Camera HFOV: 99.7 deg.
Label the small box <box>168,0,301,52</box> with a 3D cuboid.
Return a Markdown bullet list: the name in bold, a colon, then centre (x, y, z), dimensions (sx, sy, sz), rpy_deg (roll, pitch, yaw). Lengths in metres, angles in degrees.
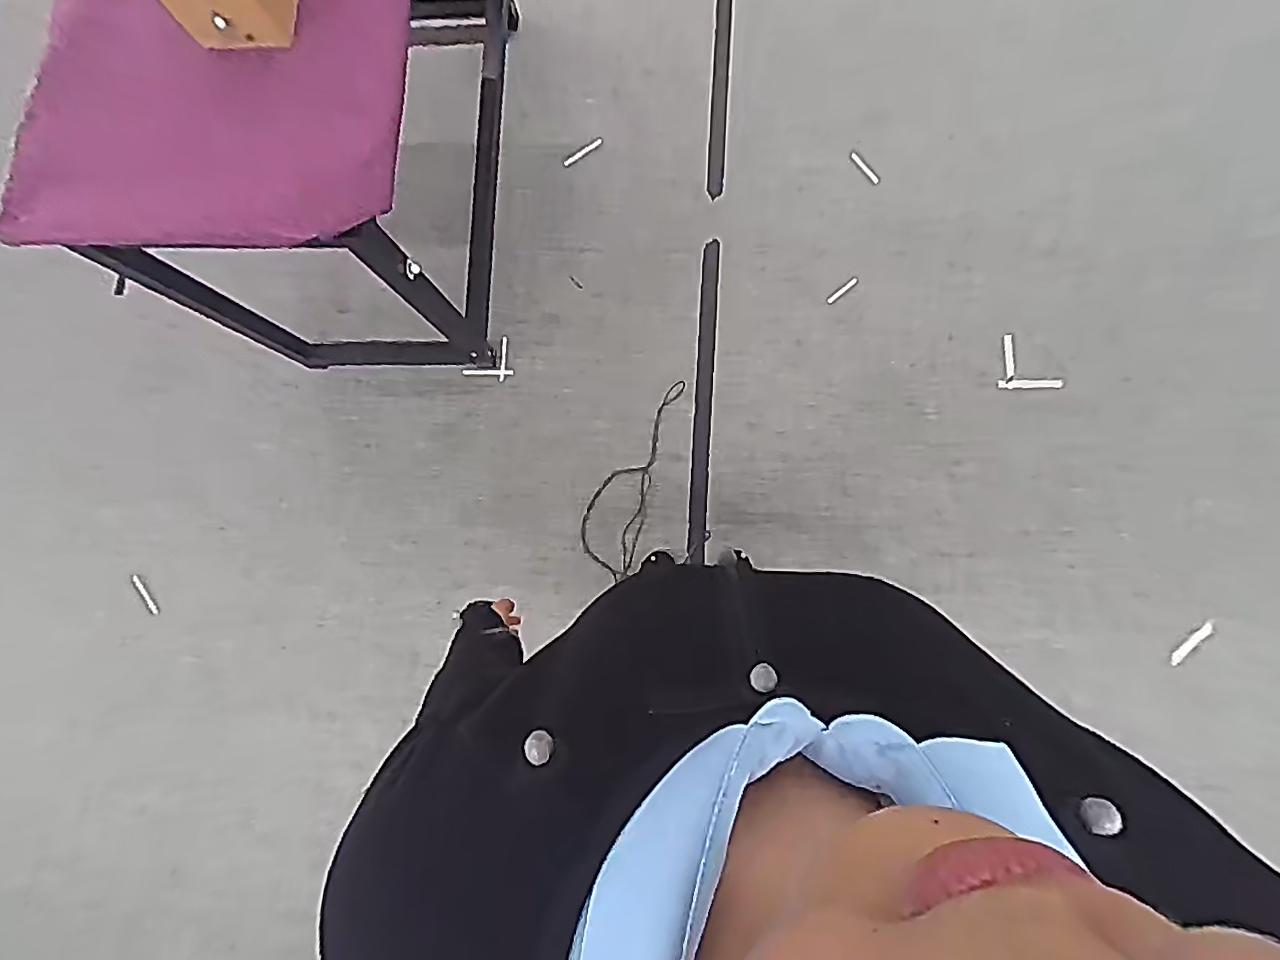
- **small box**: centre (-0.680, -0.845, 0.873), dimensions (0.168, 0.176, 0.179), rpy_deg (3, 83, 4)
